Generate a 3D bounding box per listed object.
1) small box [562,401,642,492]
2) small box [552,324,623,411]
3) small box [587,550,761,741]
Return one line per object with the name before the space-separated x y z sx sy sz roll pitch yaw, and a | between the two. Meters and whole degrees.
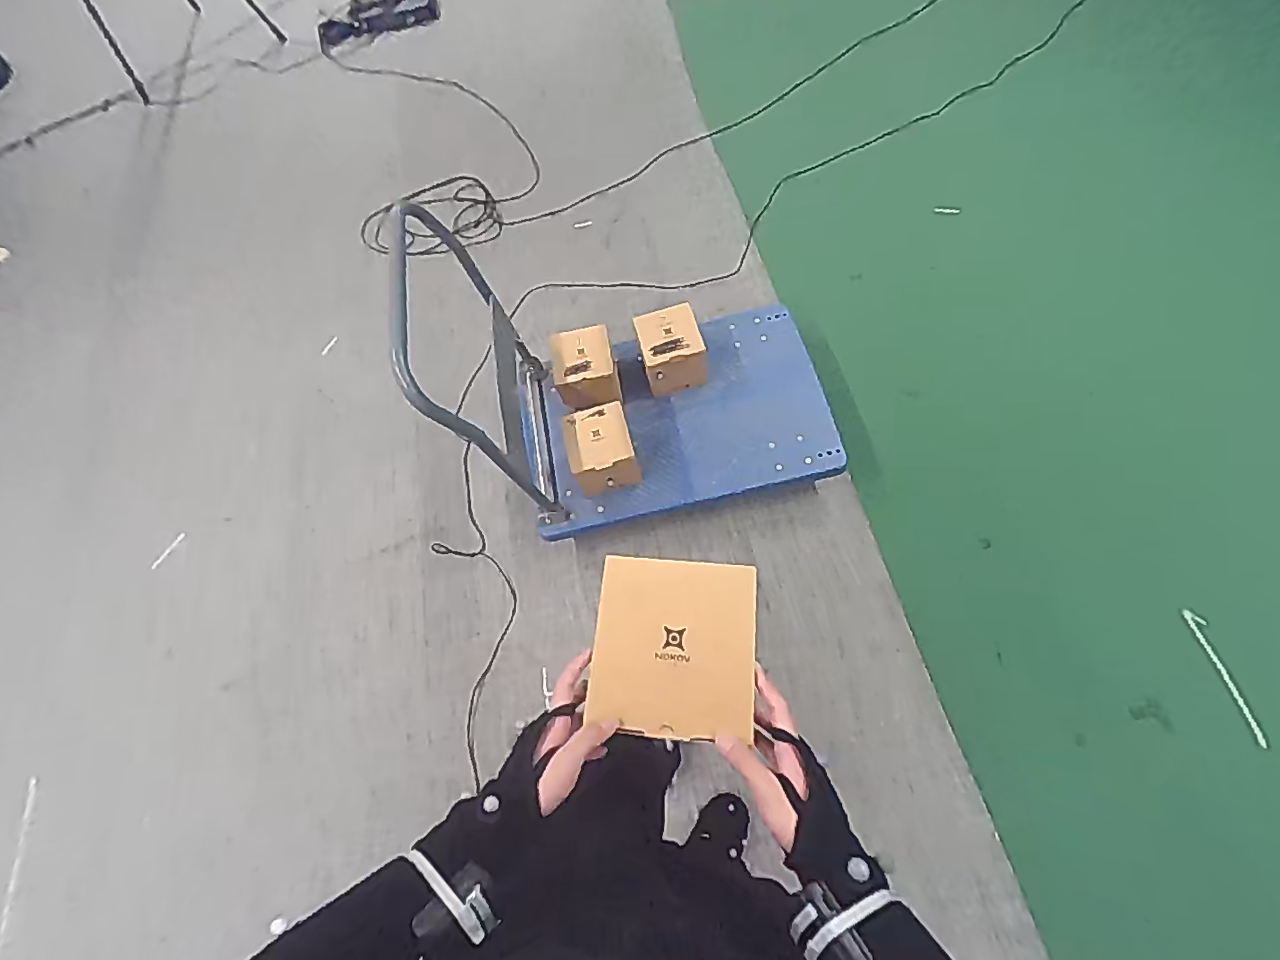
small box | -0.098 -0.080 1.450 0.168 0.176 0.179 -15 66 1
small box | -0.147 -0.315 1.557 0.168 0.176 0.179 -10 65 3
small box | 0.044 0.193 0.623 0.168 0.176 0.179 4 67 7
